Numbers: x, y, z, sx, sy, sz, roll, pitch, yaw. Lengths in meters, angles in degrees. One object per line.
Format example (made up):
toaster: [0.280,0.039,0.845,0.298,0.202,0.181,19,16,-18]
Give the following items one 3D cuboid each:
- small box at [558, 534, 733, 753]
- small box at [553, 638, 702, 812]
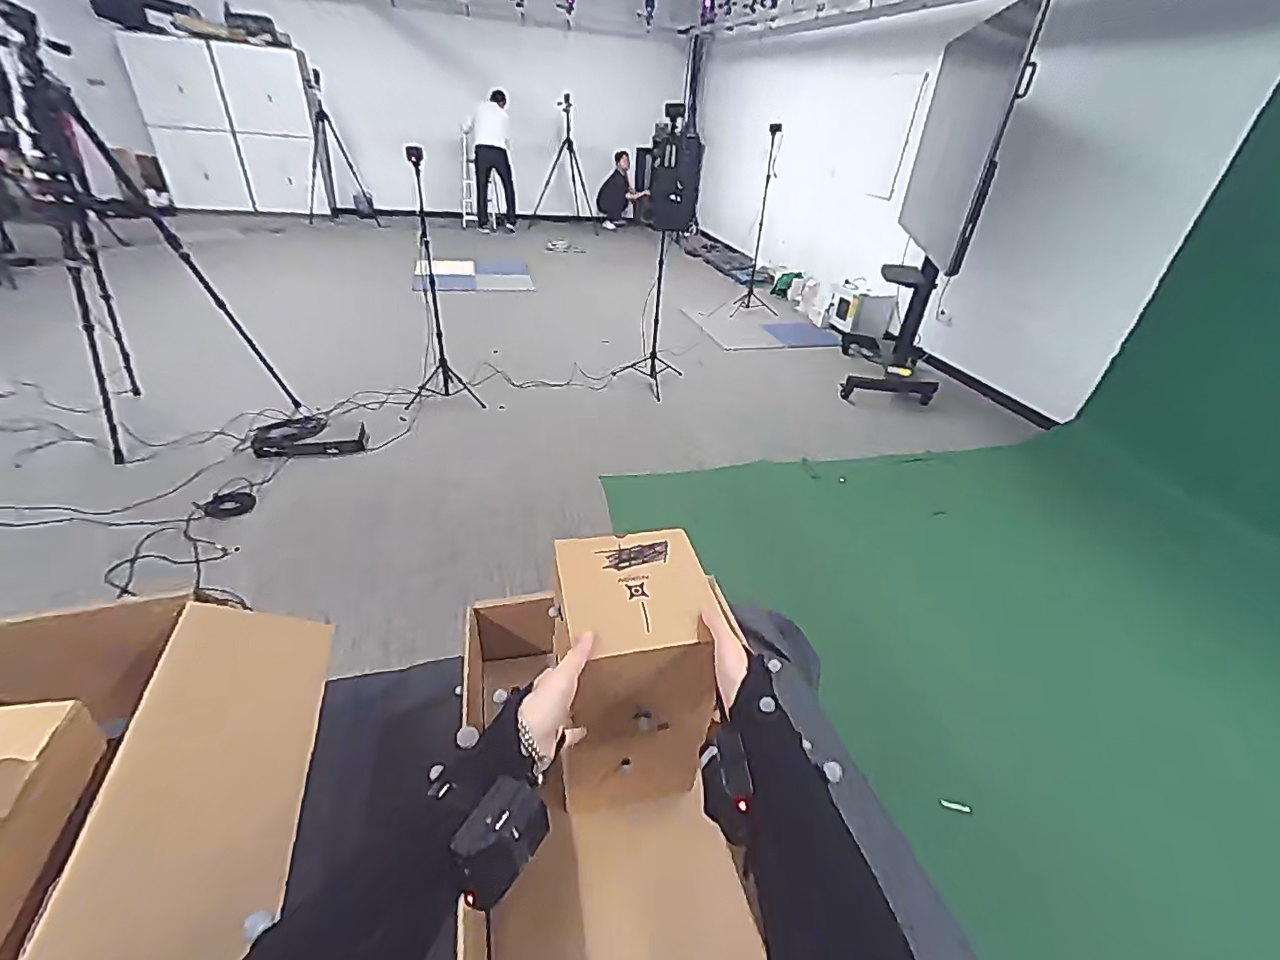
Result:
small box: [-0.008,0.188,0.646,0.168,0.176,0.179,-4,36,-13]
small box: [-0.020,0.322,0.741,0.179,0.176,0.168,-5,36,-12]
